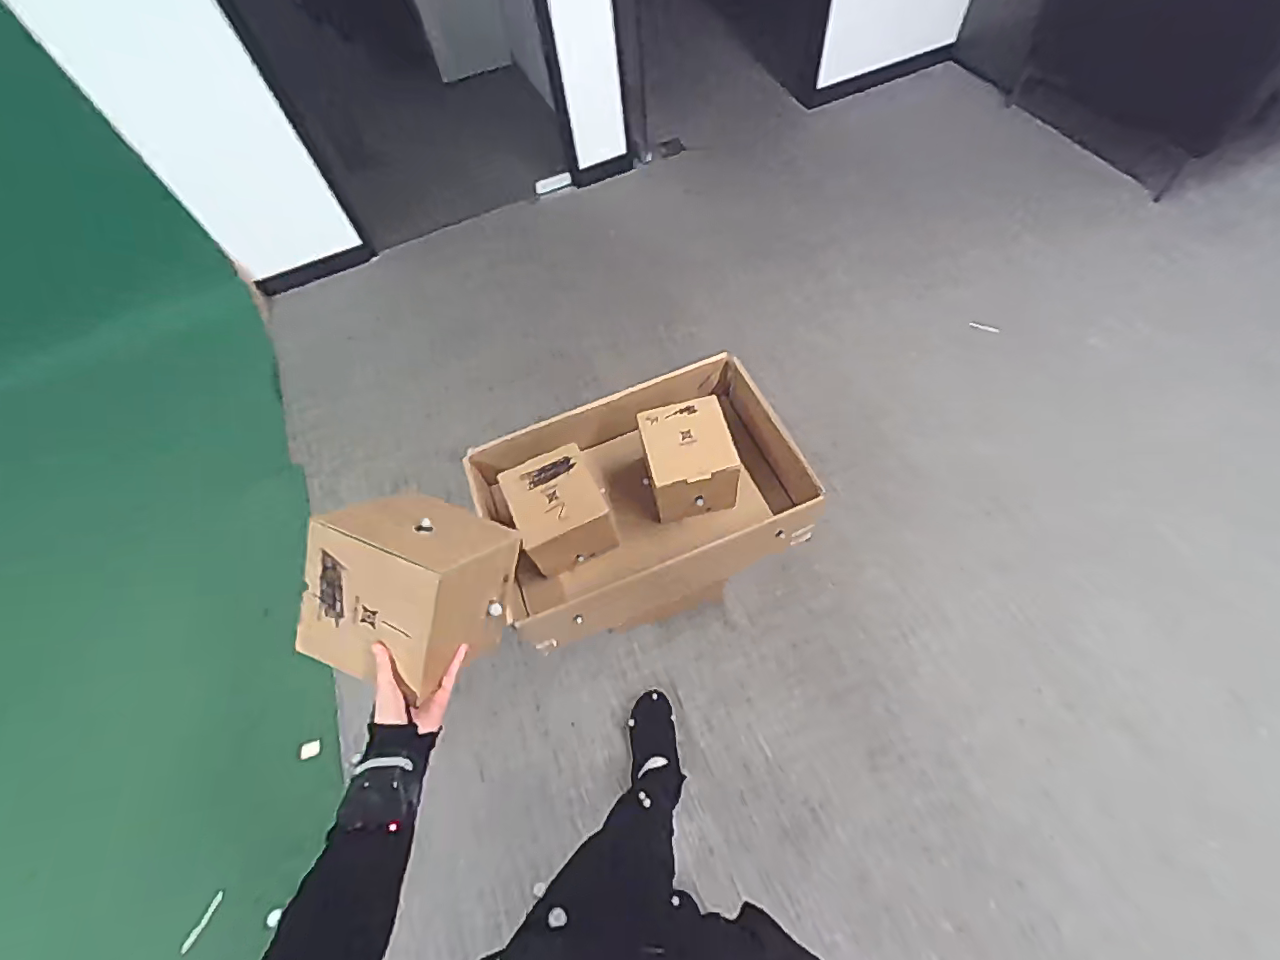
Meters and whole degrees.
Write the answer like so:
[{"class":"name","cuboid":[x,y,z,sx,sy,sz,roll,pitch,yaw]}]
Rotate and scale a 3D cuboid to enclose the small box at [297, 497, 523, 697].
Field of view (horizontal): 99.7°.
[{"class":"small box","cuboid":[-0.275,0.126,0.668,0.179,0.176,0.168,19,102,14]}]
